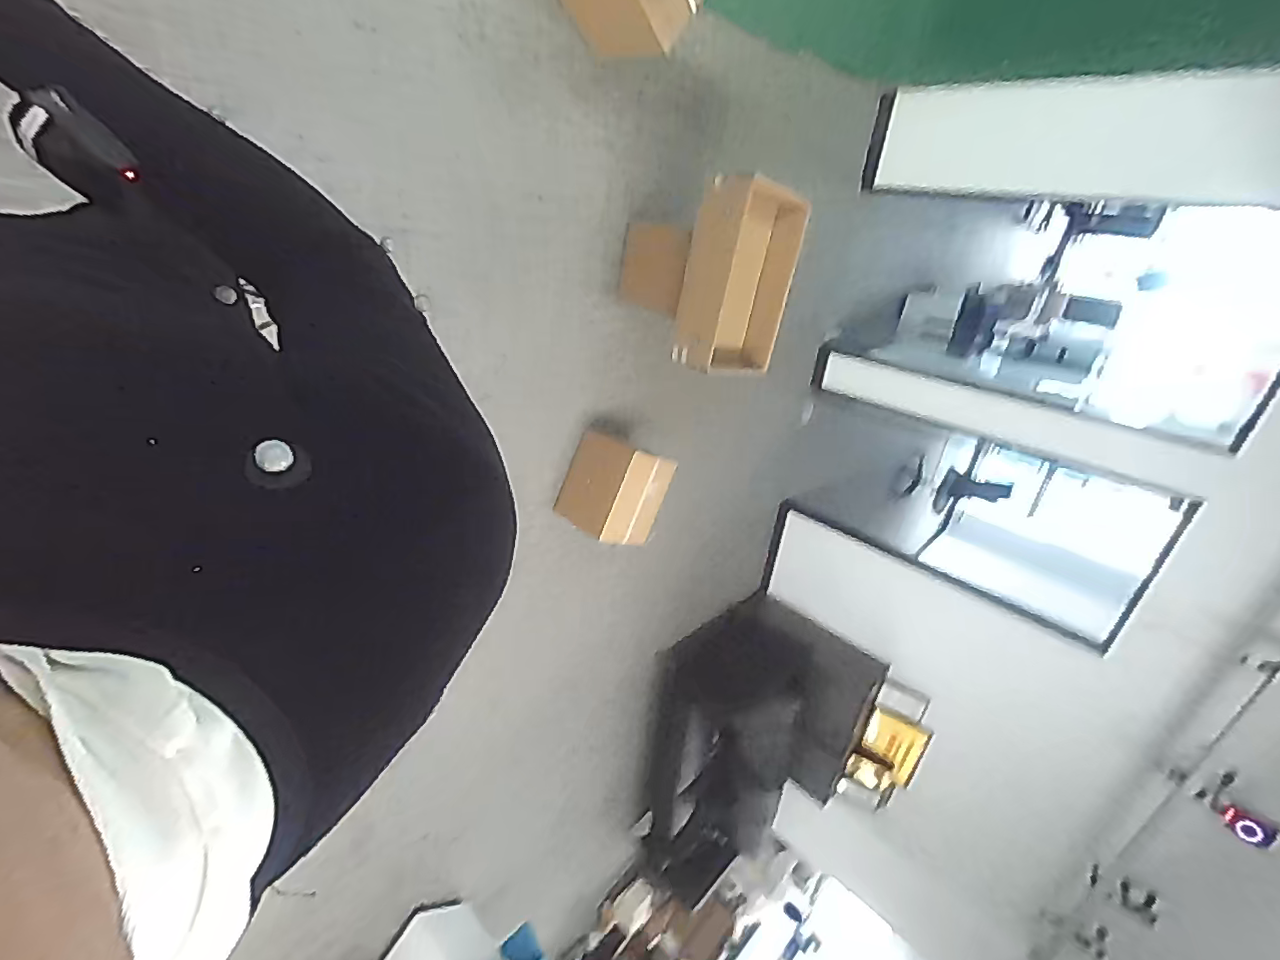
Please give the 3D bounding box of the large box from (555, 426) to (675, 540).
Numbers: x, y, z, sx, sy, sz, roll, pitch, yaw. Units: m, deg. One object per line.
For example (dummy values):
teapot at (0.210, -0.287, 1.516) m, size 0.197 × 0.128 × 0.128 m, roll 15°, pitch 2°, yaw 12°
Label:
large box at (-0.113, 0.019, 2.370) m, size 0.320 × 0.320 × 0.408 m, roll 12°, pitch 102°, yaw -53°
